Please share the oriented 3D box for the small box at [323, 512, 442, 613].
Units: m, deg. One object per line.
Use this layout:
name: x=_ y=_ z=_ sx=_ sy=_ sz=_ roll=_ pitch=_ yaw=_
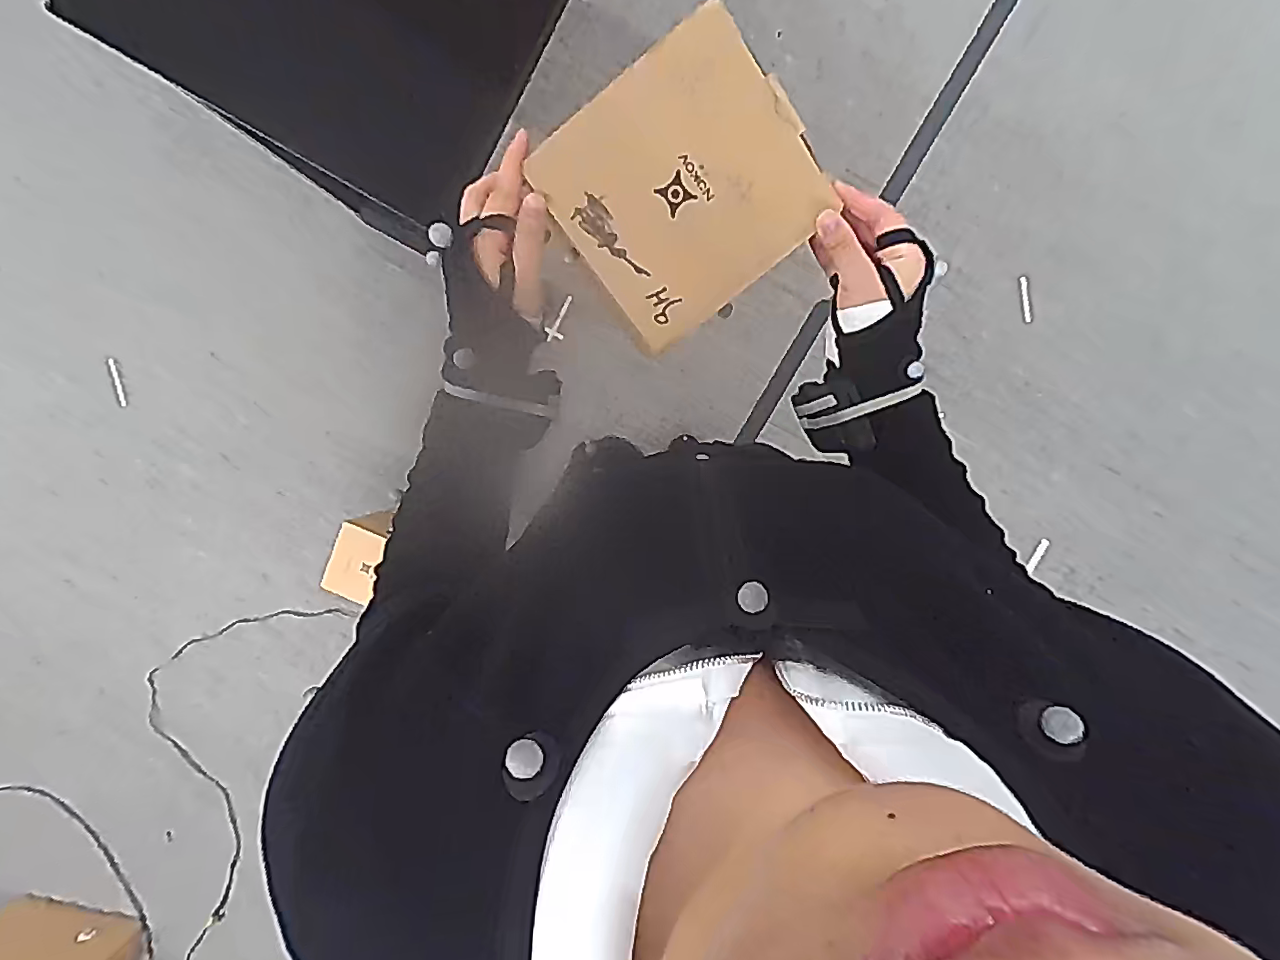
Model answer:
small box: x=-0.602 y=0.187 z=1.290 sx=0.179 sy=0.176 sz=0.168 roll=23 pitch=95 yaw=0
